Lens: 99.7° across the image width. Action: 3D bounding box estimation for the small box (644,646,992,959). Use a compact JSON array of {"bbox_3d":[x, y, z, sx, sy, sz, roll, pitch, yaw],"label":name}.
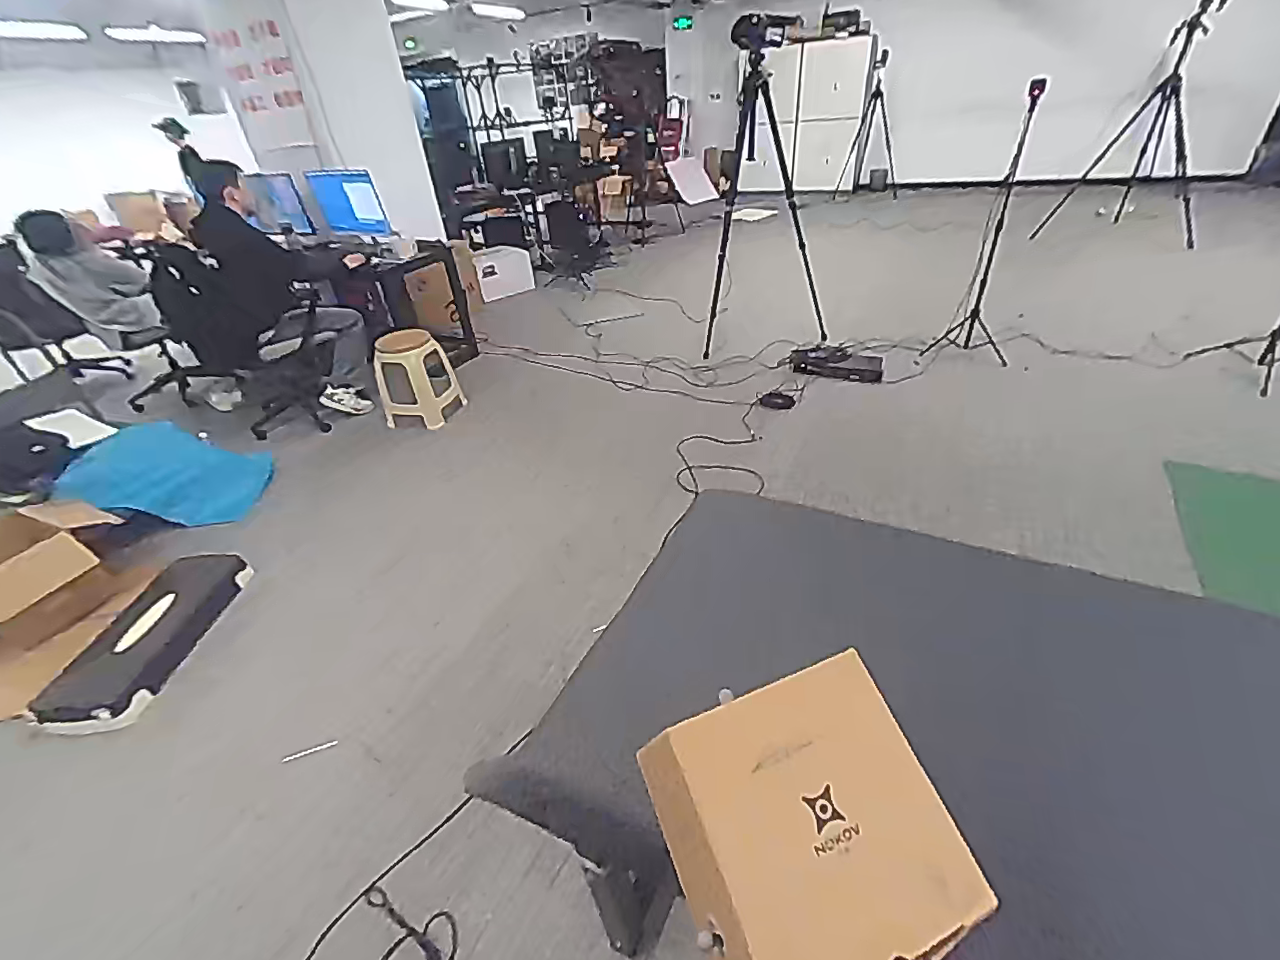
[{"bbox_3d":[0.115,0.261,0.431,0.168,0.176,0.179,-14,60,-18],"label":"small box"}]
